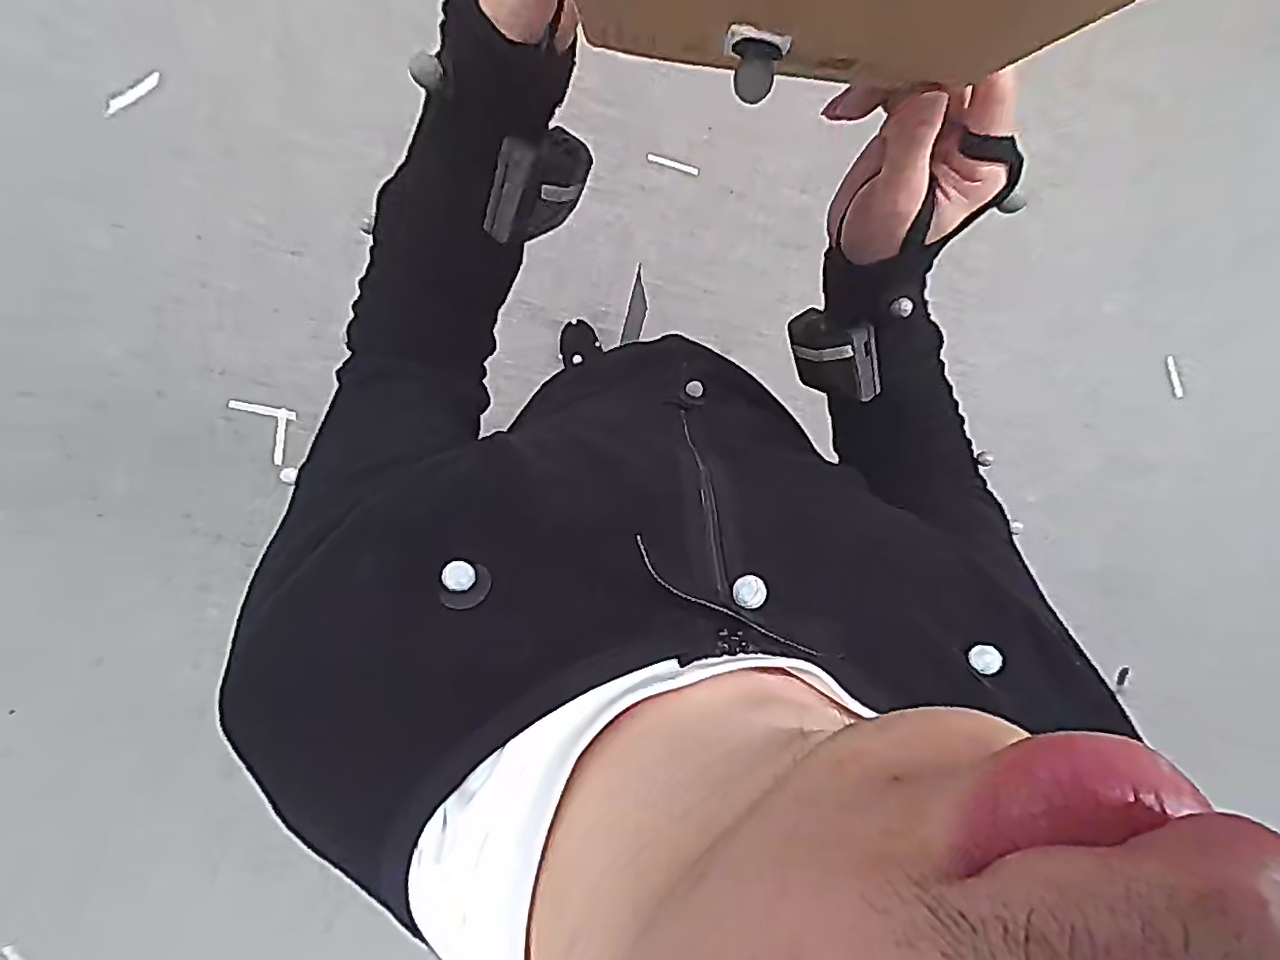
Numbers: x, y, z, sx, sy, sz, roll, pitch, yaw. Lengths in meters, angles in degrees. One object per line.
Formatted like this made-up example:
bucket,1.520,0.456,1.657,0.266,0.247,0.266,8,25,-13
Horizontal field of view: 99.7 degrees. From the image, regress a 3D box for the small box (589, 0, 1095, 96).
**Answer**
small box,0.062,-0.236,0.145,0.168,0.176,0.179,6,114,0
